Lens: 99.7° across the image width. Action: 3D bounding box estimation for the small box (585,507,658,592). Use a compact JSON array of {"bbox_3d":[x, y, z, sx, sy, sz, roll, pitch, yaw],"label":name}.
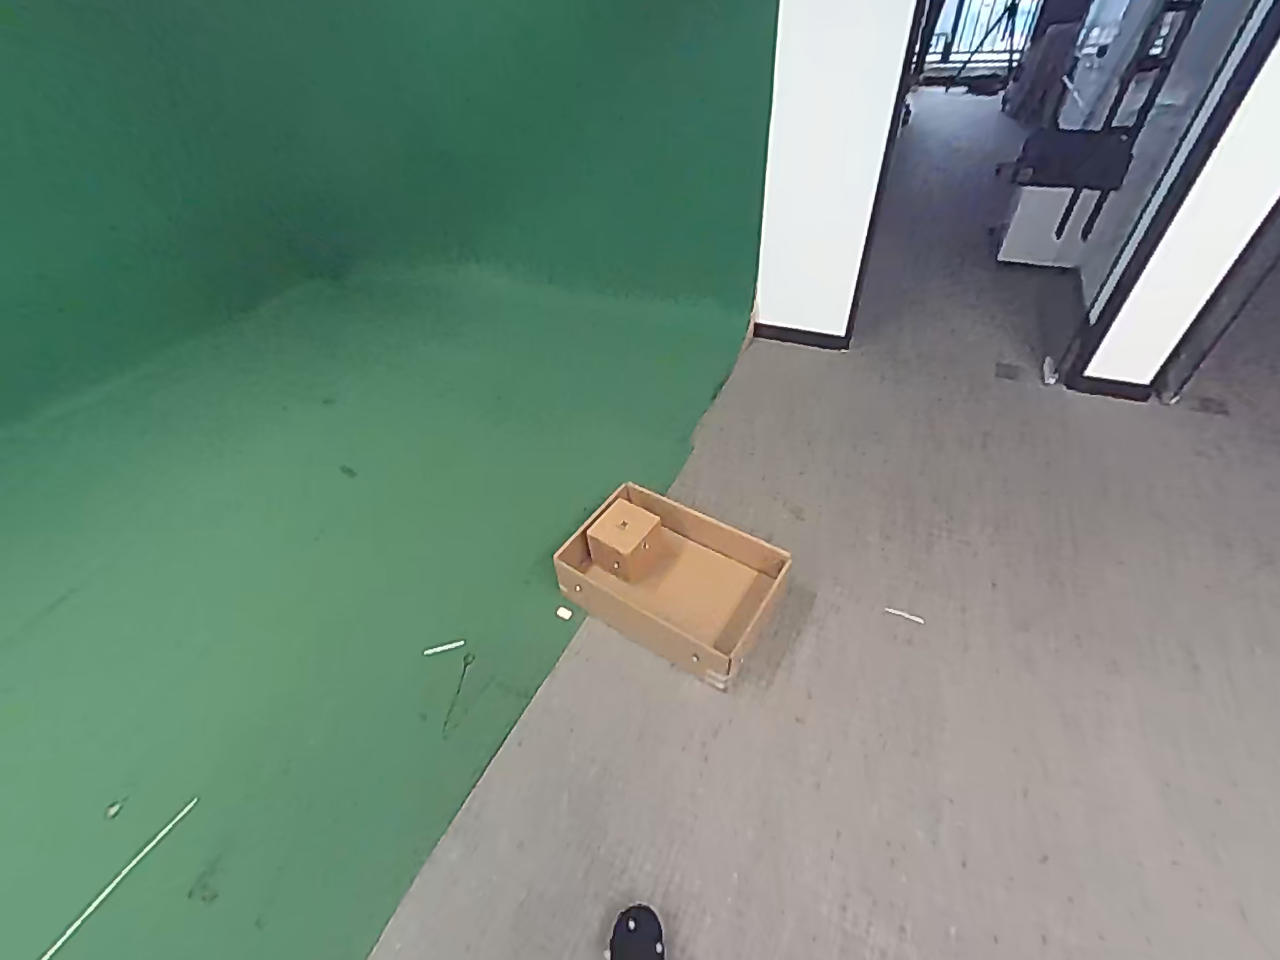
[{"bbox_3d":[-0.050,0.224,1.728,0.168,0.176,0.179,26,51,27],"label":"small box"}]
